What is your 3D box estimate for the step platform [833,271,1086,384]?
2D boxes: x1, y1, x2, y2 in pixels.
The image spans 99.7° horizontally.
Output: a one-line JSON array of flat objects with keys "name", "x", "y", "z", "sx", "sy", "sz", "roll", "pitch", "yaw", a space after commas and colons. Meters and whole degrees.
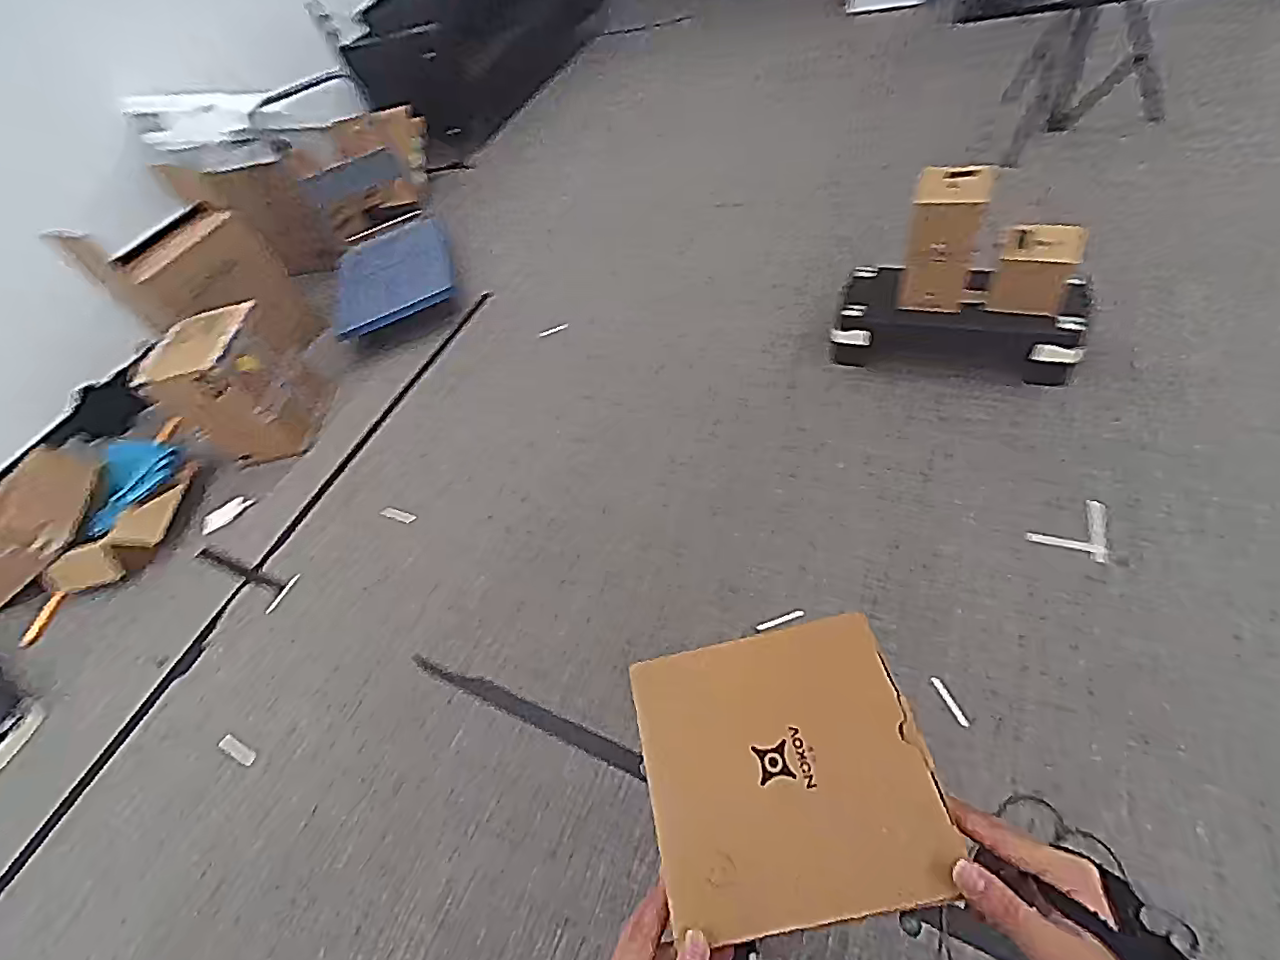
[{"name": "step platform", "x": 0.984, "y": -0.506, "z": 1.725, "sx": 0.684, "sy": 0.204, "sz": 0.286, "roll": 11, "pitch": 58, "yaw": 25}]

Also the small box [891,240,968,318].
[{"name": "small box", "x": 0.862, "y": -0.610, "z": 1.618, "sx": 0.168, "sy": 0.176, "sz": 0.179, "roll": 13, "pitch": 59, "yaw": 26}]

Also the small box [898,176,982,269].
[{"name": "small box", "x": 0.822, "y": -0.710, "z": 1.494, "sx": 0.168, "sy": 0.176, "sz": 0.179, "roll": 13, "pitch": 59, "yaw": 25}]

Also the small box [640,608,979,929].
[{"name": "small box", "x": 0.109, "y": 0.220, "z": 0.413, "sx": 0.179, "sy": 0.176, "sz": 0.168, "roll": -13, "pitch": 55, "yaw": 3}]
